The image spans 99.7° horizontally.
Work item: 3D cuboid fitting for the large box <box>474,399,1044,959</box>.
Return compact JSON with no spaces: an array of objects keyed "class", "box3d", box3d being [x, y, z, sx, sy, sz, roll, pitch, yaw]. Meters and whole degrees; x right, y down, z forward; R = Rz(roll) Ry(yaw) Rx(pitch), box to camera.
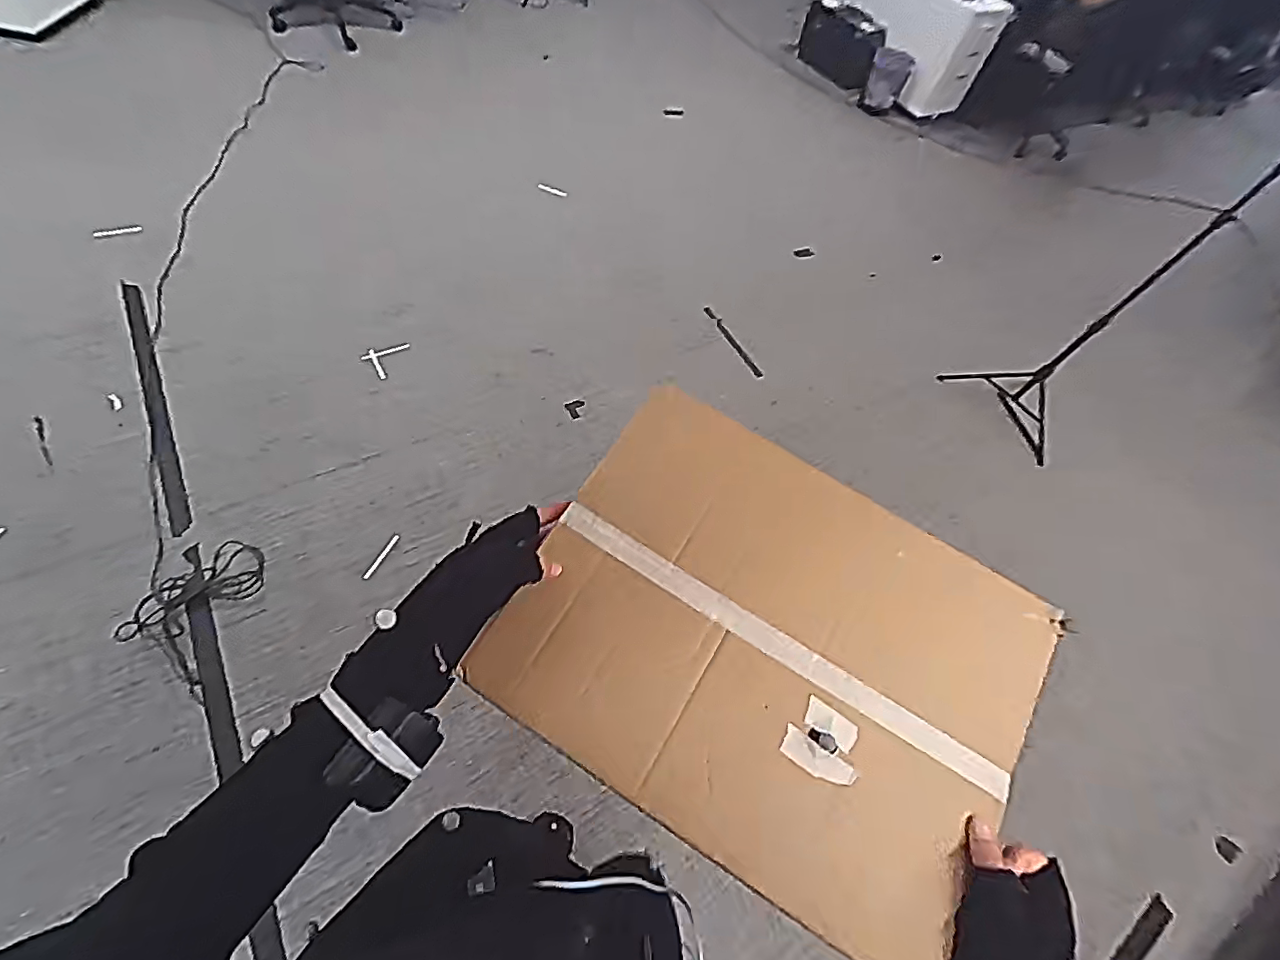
[{"class":"large box","box3d":[0.100,0.187,0.593,0.408,0.320,0.320,32,72,7]}]
